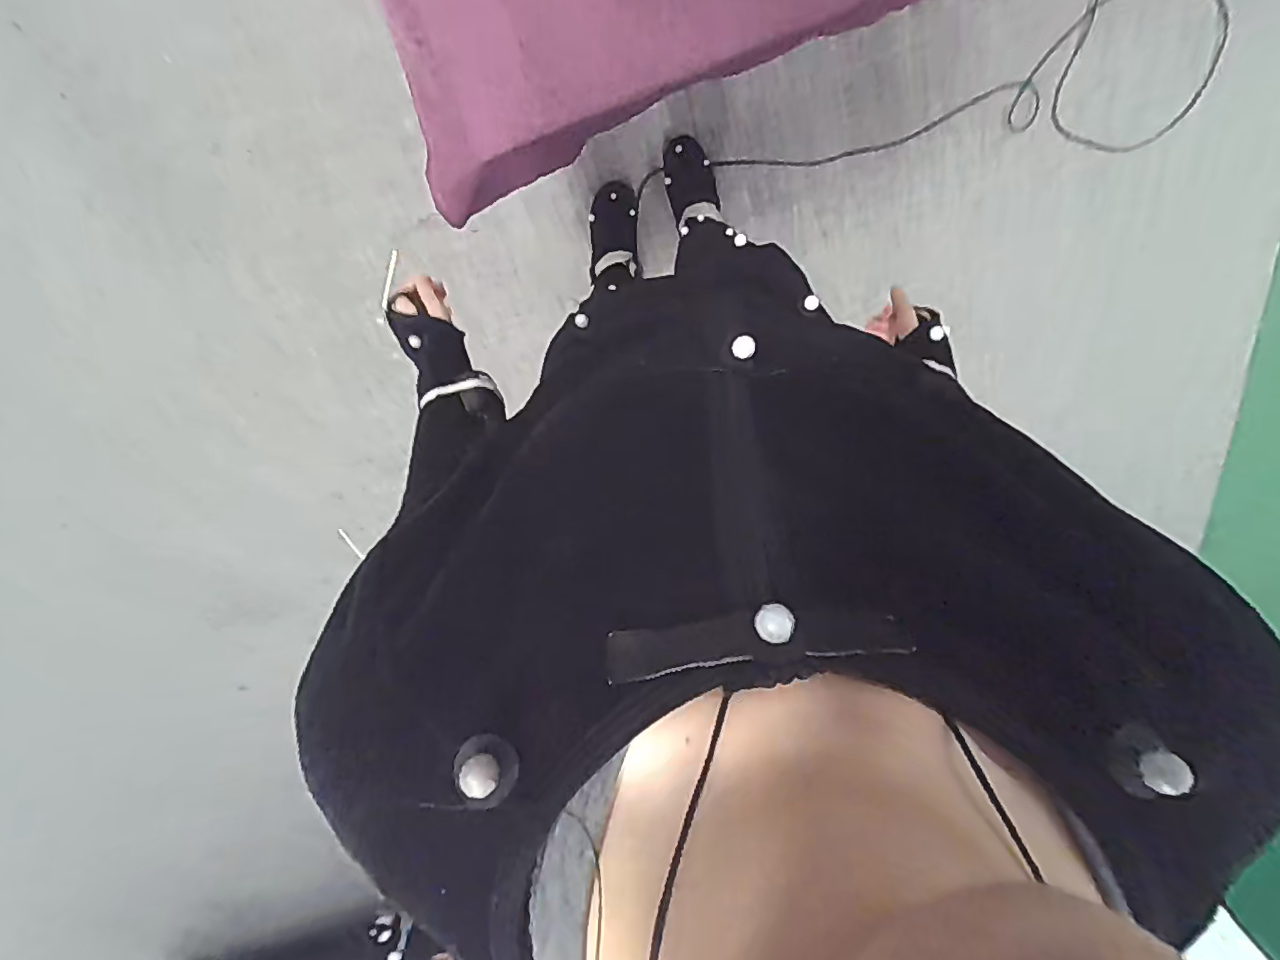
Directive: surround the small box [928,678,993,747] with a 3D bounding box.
[{"bbox_3d":[1.289,0.938,2.185,0.168,0.176,0.179,-18,120,4],"label":"small box"}]
